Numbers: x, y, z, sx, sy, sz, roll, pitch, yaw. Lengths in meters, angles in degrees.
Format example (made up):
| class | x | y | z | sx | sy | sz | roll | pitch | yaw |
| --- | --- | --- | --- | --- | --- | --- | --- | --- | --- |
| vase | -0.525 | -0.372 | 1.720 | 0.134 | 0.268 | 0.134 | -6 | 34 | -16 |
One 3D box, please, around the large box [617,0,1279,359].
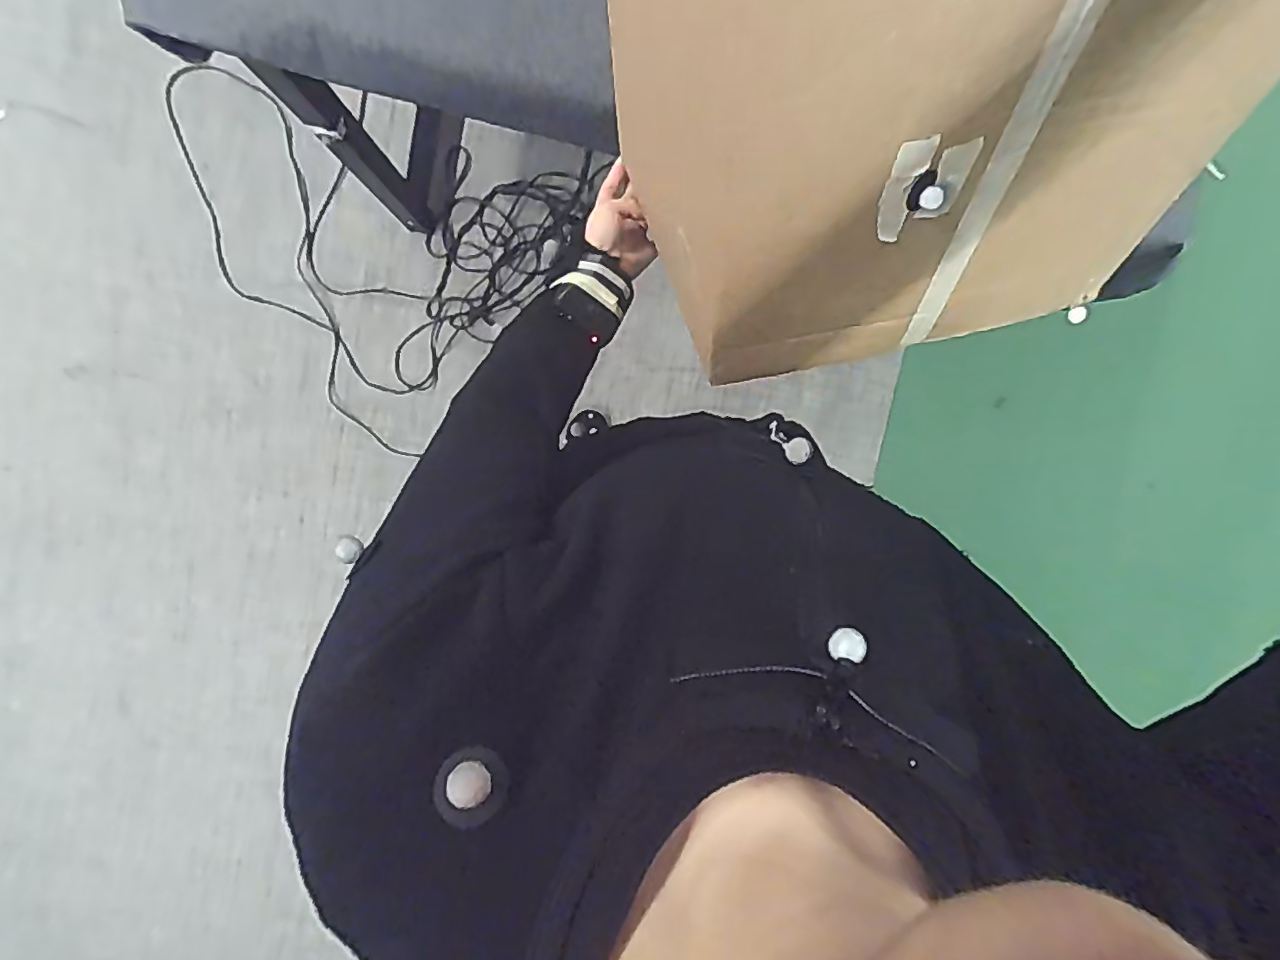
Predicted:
| class | x | y | z | sx | sy | sz | roll | pitch | yaw |
| --- | --- | --- | --- | --- | --- | --- | --- | --- | --- |
| large box | 0.157 | -0.350 | 0.324 | 0.320 | 0.408 | 0.320 | -13 | 61 | -3 |
